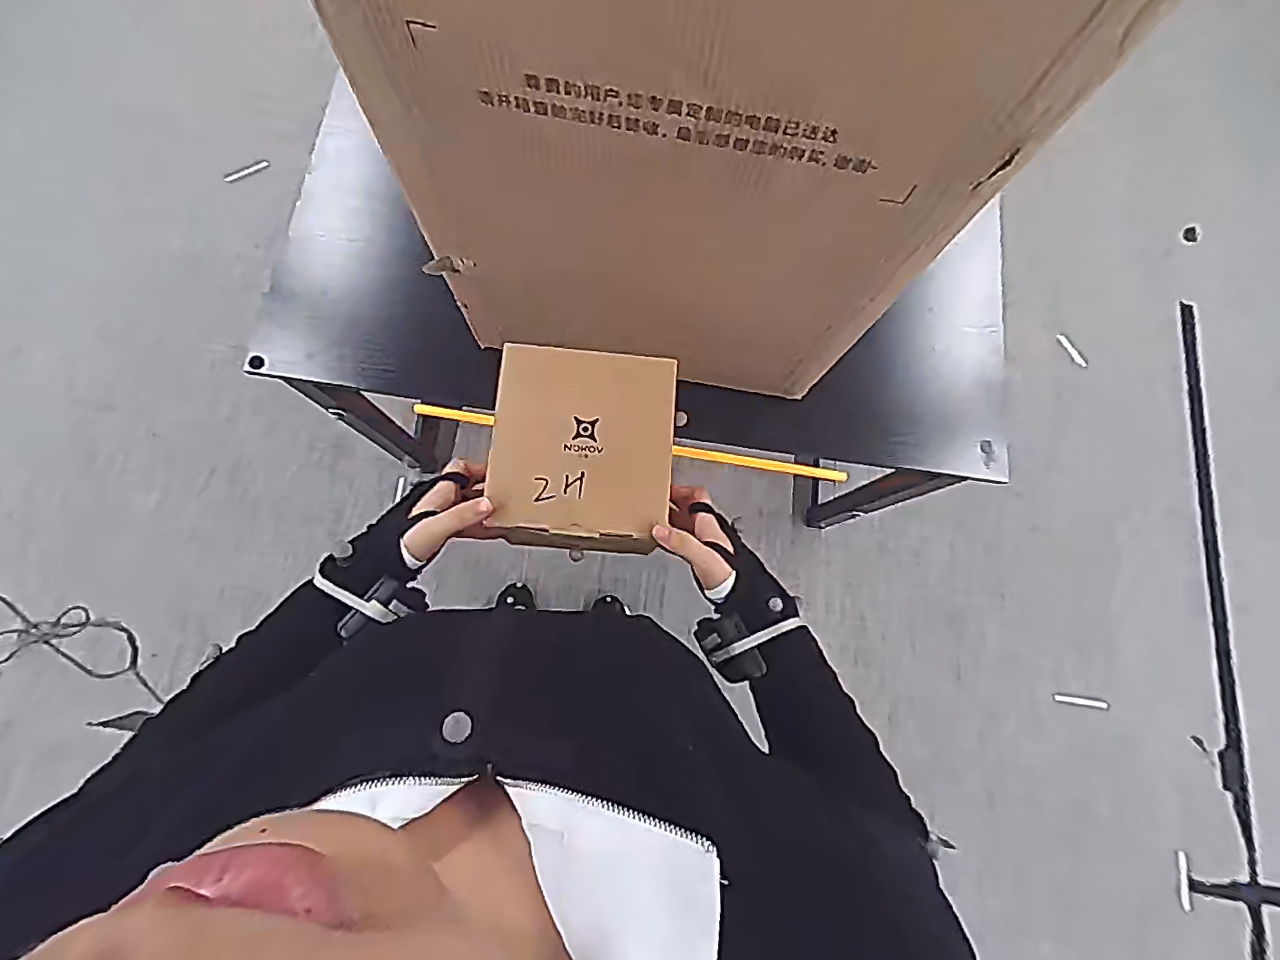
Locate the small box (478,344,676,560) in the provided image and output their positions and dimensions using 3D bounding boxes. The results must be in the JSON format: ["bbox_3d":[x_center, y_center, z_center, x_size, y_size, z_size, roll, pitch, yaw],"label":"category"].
[{"bbox_3d":[-0.060,-0.017,0.567,0.168,0.176,0.179,5,76,-3],"label":"small box"}]
